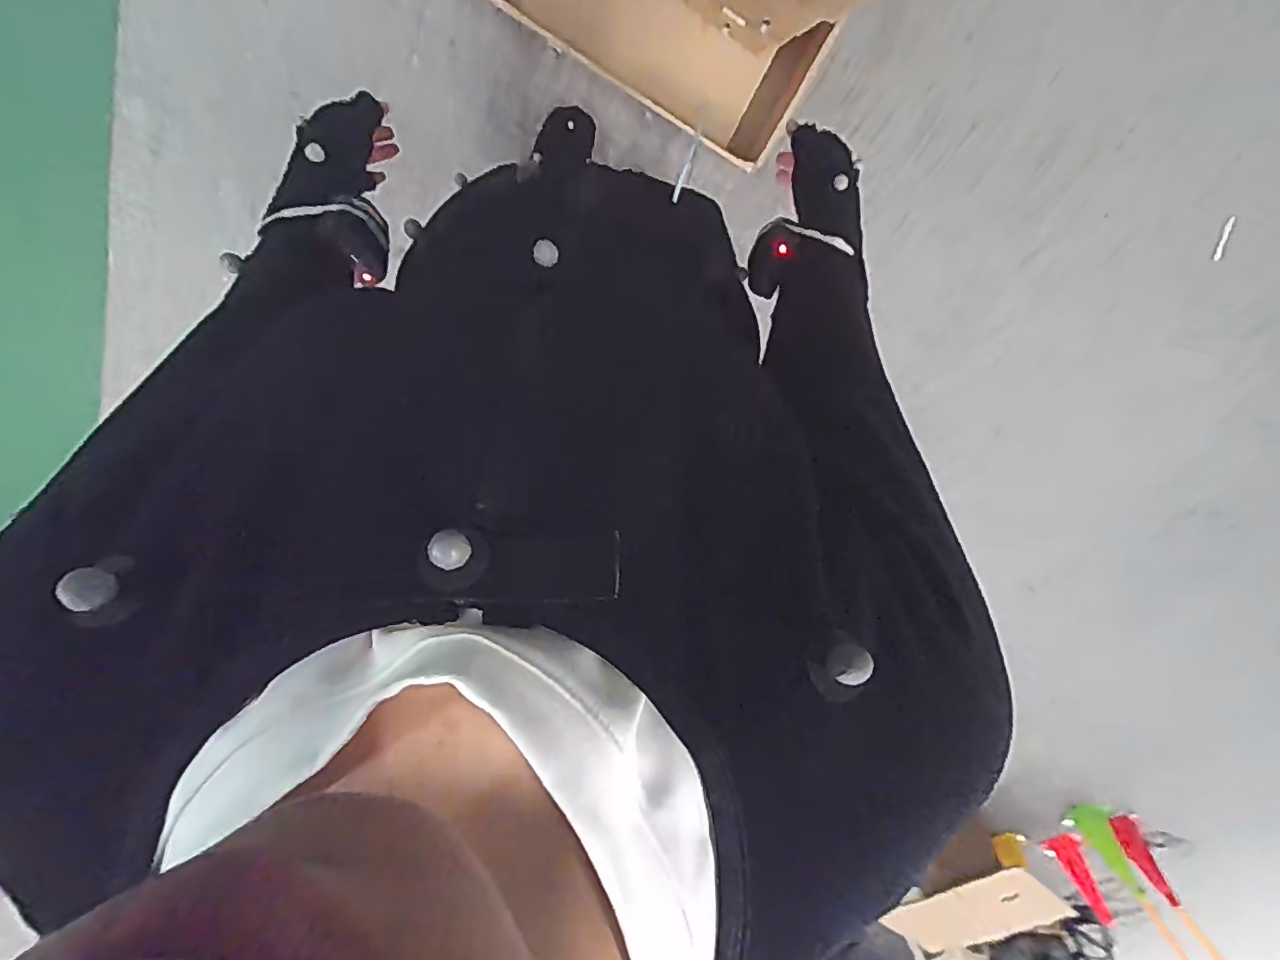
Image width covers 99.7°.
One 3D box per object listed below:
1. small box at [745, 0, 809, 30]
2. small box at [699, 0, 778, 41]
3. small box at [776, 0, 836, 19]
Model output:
[{"bbox_3d":[0.213,-0.793,0.772,0.168,0.176,0.179,25,119,-15],"label":"small box"},{"bbox_3d":[0.199,-0.896,0.922,0.168,0.176,0.179,22,119,-12],"label":"small box"},{"bbox_3d":[0.208,-0.708,0.652,0.168,0.176,0.179,26,119,-17],"label":"small box"}]
